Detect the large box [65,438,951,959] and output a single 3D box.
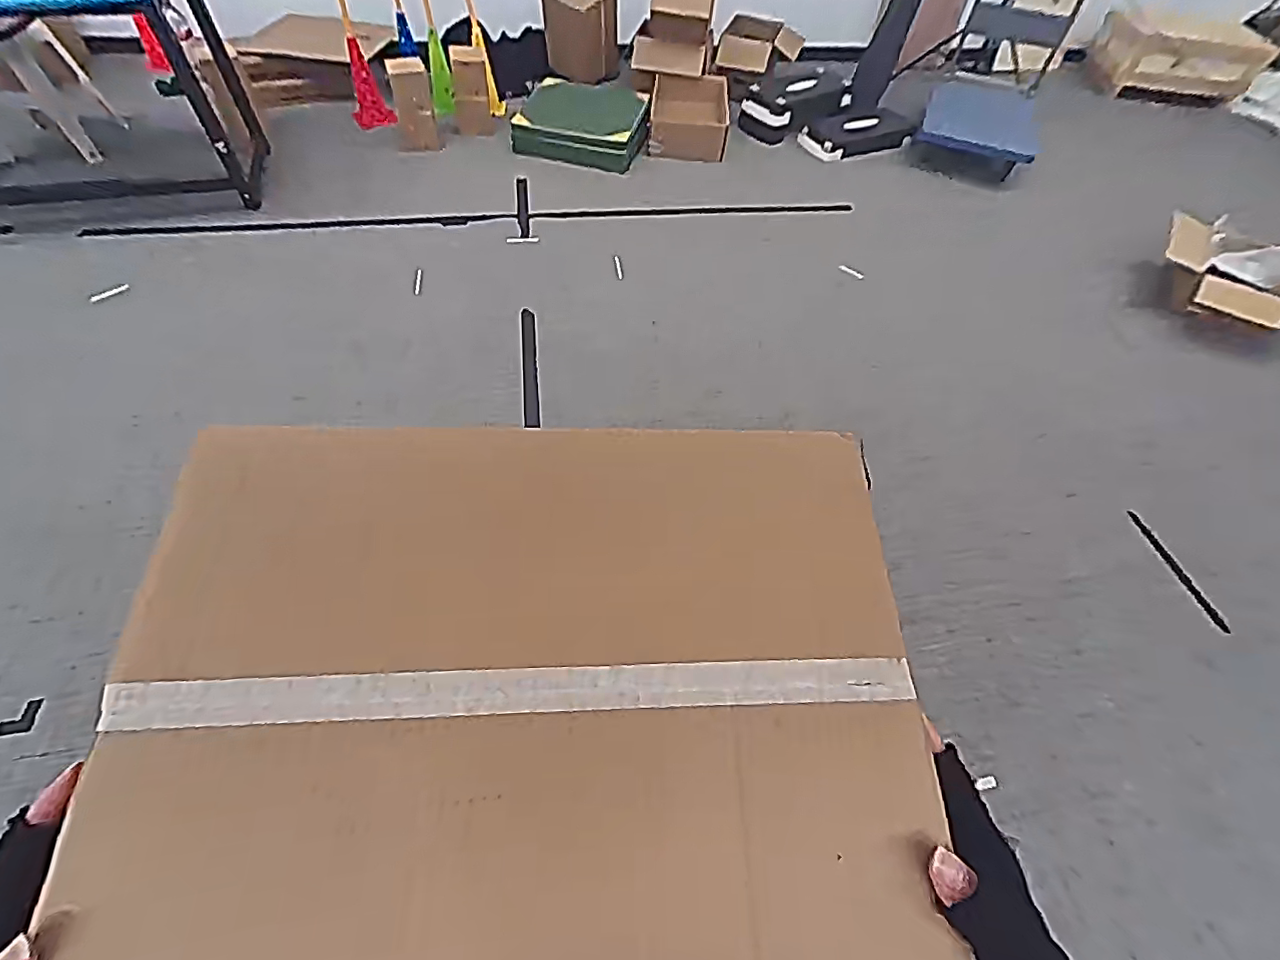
[{"bbox_3d":[-0.068,0.175,0.430,0.408,0.320,0.320,0,66,-5],"label":"large box"}]
